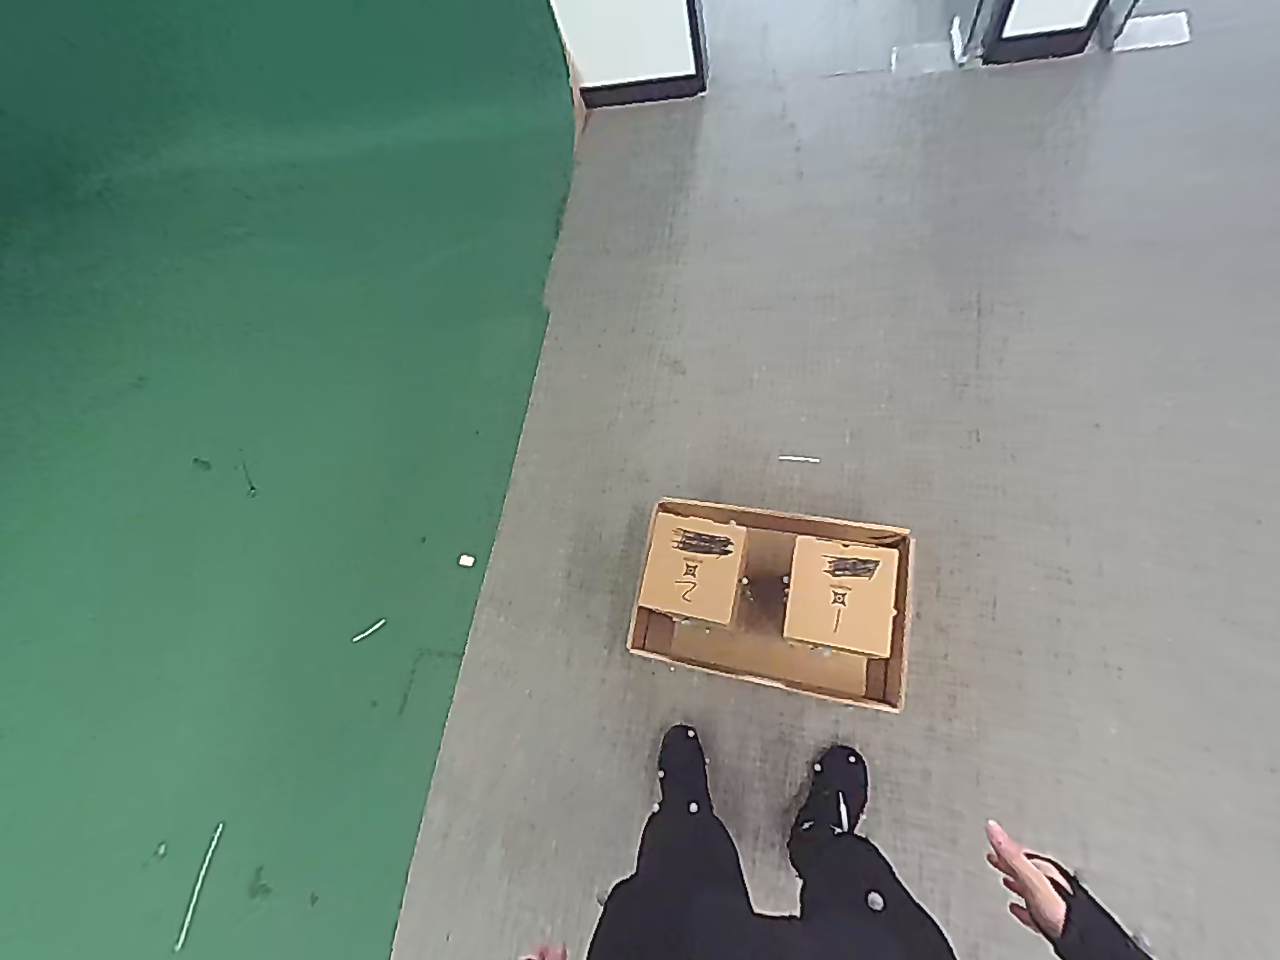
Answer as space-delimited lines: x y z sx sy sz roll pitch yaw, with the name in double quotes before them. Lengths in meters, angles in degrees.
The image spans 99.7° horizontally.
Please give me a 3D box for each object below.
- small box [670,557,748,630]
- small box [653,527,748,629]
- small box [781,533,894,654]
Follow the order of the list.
"small box" 0.179 0.273 1.352 0.168 0.176 0.179 7 74 13
"small box" 0.141 0.221 1.200 0.168 0.176 0.179 11 75 17
"small box" 0.351 0.209 0.983 0.168 0.176 0.179 8 75 17
